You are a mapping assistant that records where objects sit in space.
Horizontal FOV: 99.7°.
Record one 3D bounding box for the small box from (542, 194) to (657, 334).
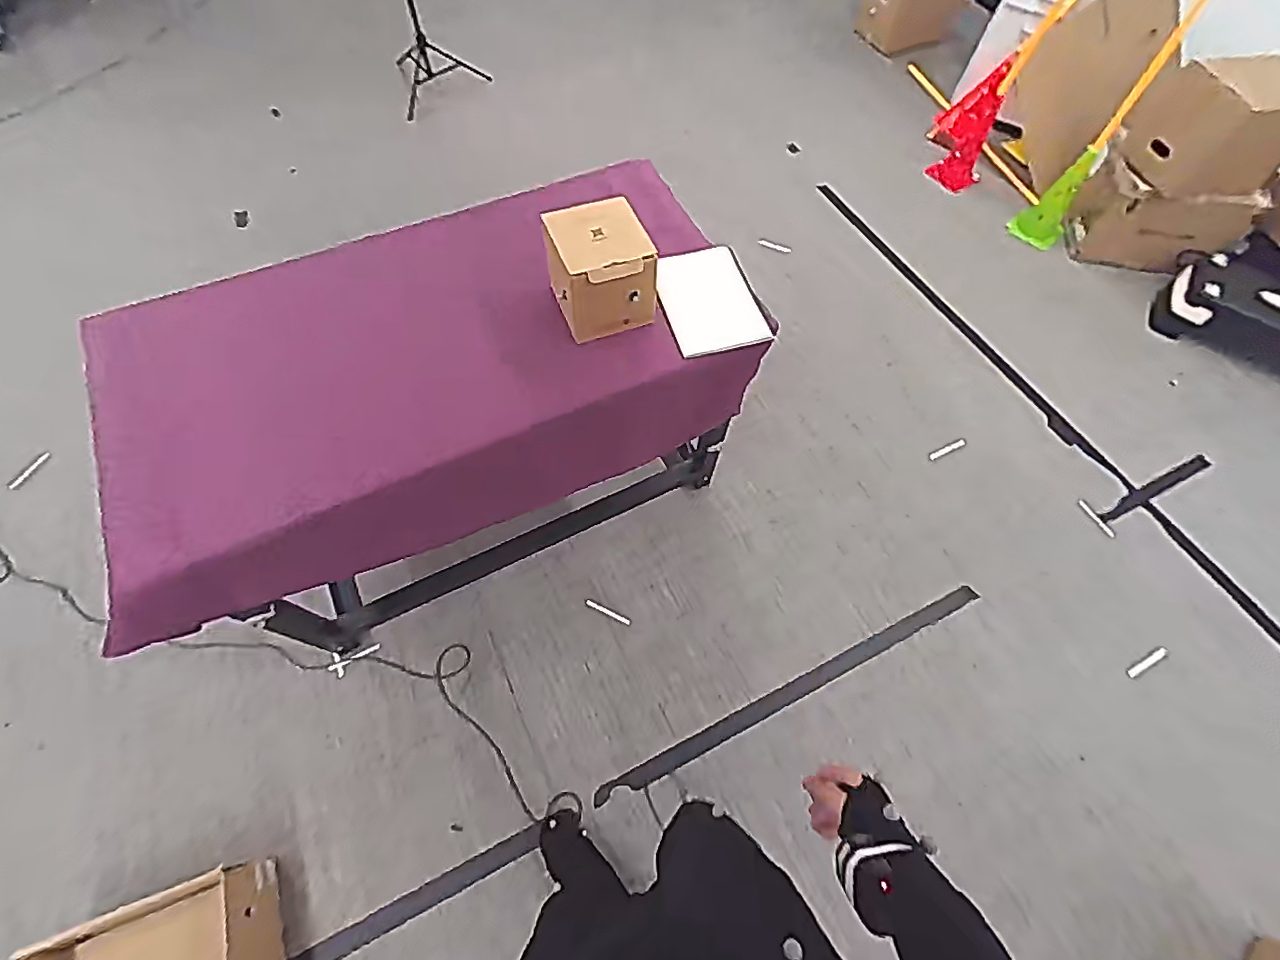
[{"bbox_3d":[-0.075,-0.403,1.034,0.168,0.176,0.179,-18,65,-11],"label":"small box"}]
